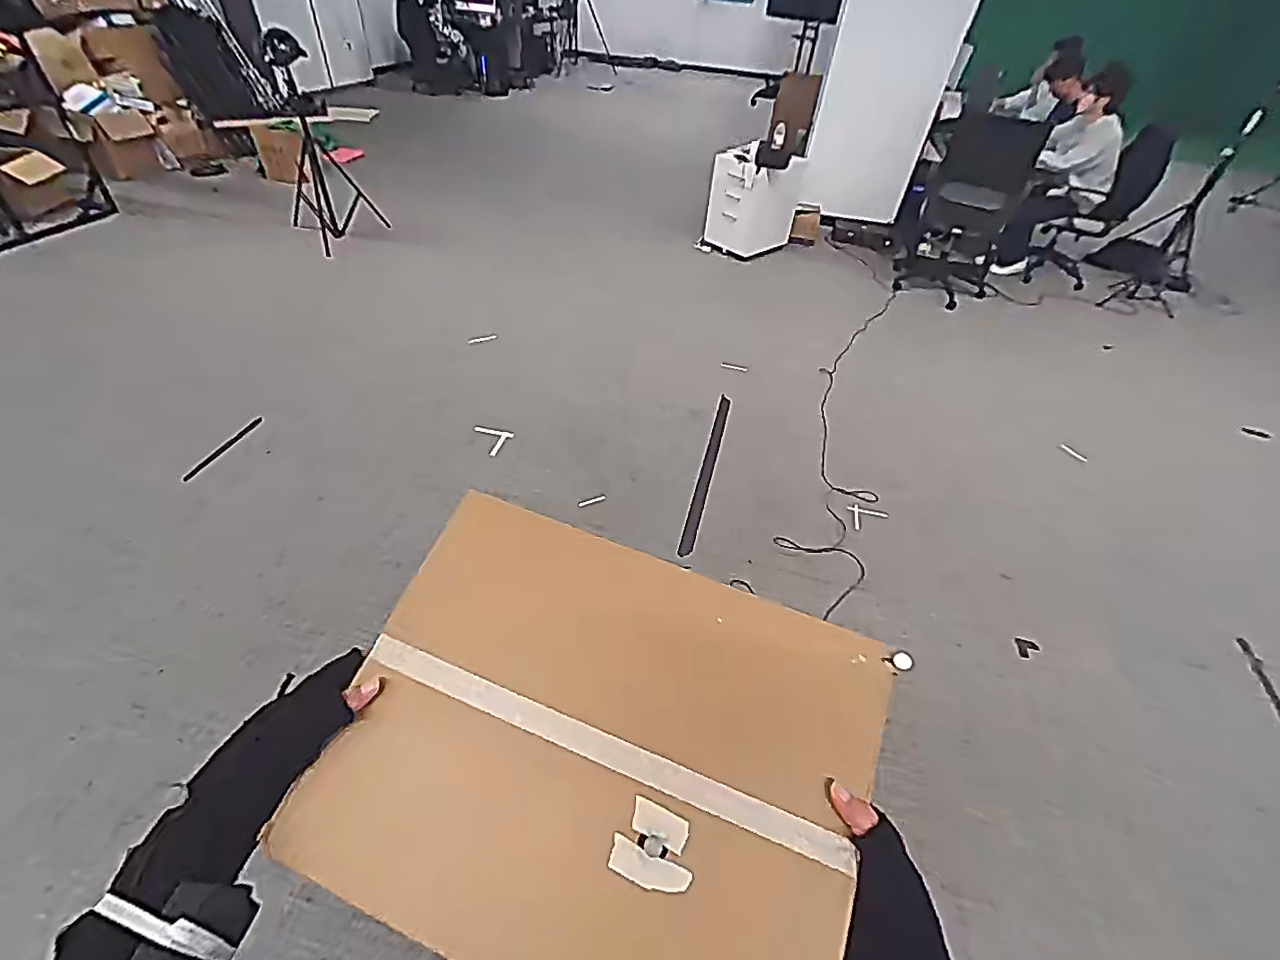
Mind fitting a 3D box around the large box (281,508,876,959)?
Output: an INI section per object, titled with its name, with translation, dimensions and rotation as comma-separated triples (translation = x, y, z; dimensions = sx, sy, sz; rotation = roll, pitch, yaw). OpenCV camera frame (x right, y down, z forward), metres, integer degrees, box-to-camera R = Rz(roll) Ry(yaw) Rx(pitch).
[large box]
translation = -0.033, 0.277, 0.566
dimensions = 0.408, 0.320, 0.320
rotation = 19, 66, 9
